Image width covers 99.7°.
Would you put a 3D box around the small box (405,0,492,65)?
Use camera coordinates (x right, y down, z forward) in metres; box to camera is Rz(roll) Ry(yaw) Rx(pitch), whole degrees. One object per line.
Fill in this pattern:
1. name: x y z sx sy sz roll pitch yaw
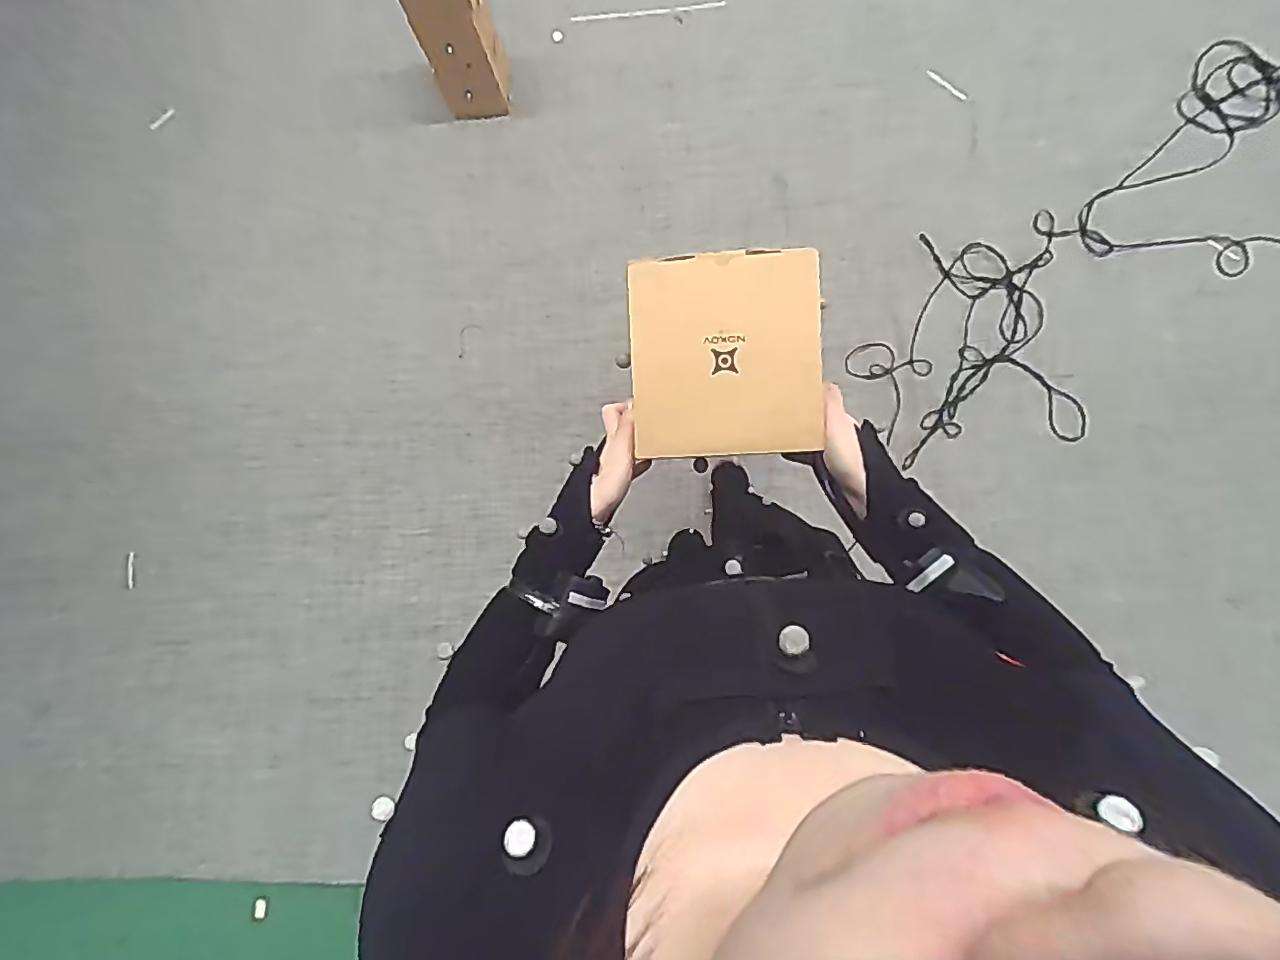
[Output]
1. small box: -0.487 -1.212 1.395 0.168 0.176 0.179 -1 86 3

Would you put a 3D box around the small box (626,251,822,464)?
1. small box: 0.079 -0.108 0.547 0.168 0.176 0.179 -3 91 5

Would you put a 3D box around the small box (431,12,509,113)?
1. small box: -0.483 -1.199 1.559 0.179 0.176 0.168 -1 86 4
